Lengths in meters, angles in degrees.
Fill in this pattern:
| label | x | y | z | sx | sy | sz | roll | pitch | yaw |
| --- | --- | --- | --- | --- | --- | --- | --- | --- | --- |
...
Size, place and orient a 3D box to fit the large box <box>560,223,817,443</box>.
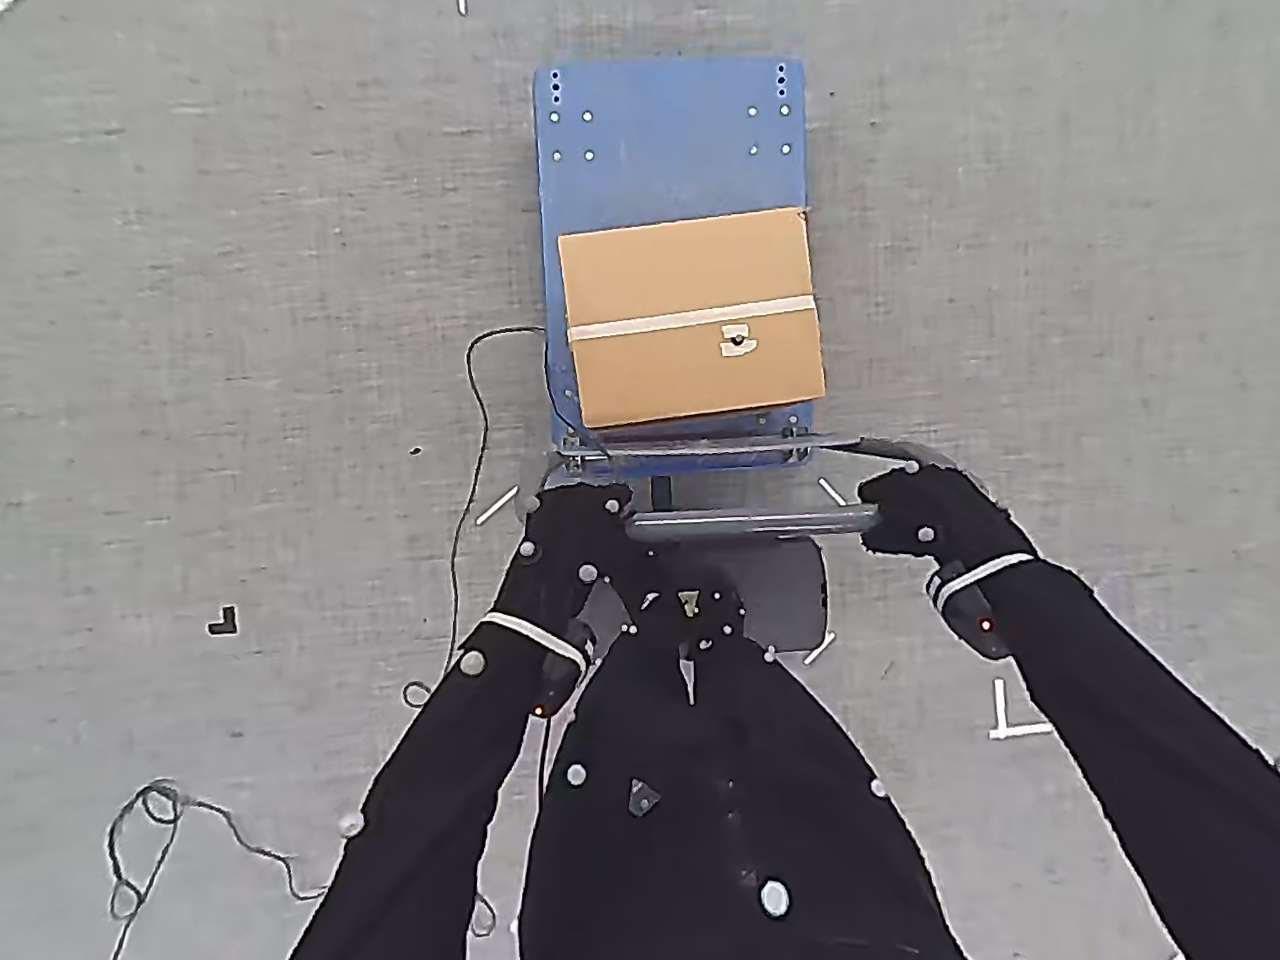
| label | x | y | z | sx | sy | sz | roll | pitch | yaw |
| --- | --- | --- | --- | --- | --- | --- | --- | --- | --- |
| large box | 0.078 | -0.256 | 1.054 | 0.408 | 0.320 | 0.320 | -8 | 94 | -2 |
